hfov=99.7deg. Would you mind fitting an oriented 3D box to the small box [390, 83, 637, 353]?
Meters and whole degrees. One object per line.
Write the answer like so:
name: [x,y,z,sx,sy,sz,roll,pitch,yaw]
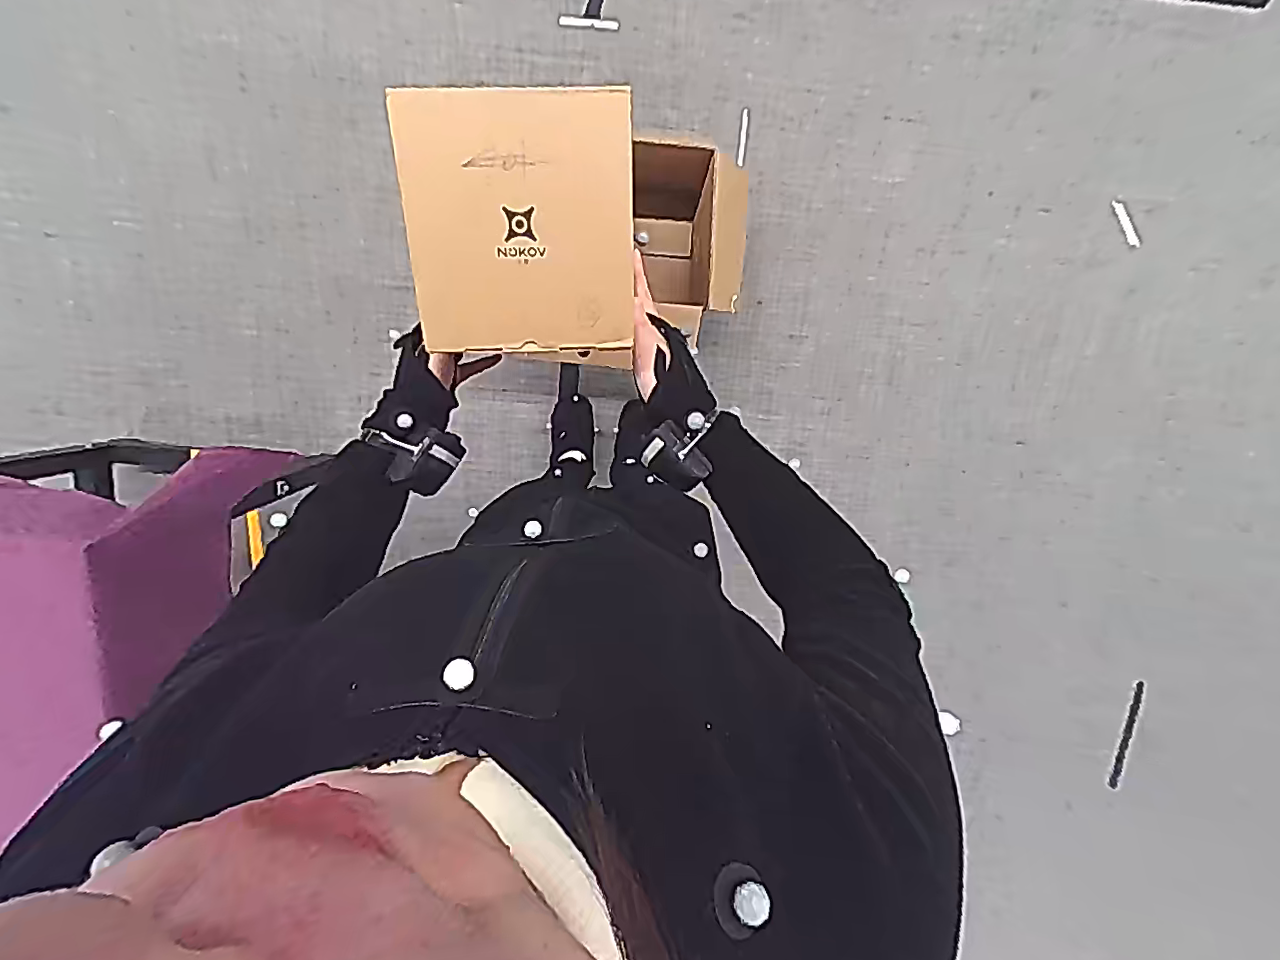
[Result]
small box: [-0.086,-0.211,0.462,0.168,0.176,0.179,-1,112,-2]
